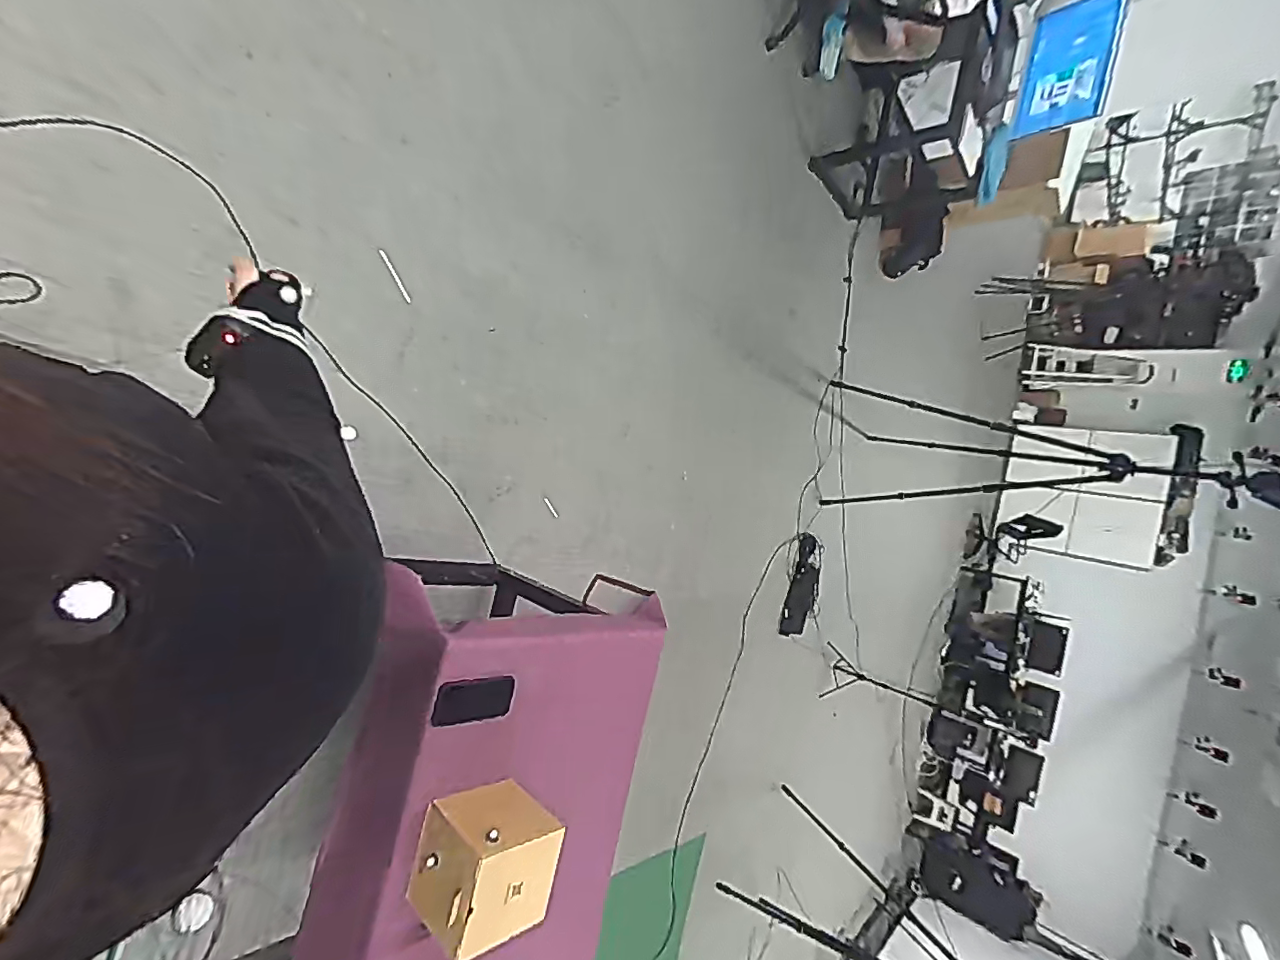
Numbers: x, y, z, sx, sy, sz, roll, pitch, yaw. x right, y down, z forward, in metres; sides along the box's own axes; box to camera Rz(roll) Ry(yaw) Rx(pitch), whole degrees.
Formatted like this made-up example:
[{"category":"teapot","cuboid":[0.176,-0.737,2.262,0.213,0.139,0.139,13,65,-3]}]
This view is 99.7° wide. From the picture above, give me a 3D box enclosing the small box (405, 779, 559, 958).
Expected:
[{"category":"small box","cuboid":[-0.276,0.655,0.944,0.179,0.176,0.168,16,87,-48]}]
